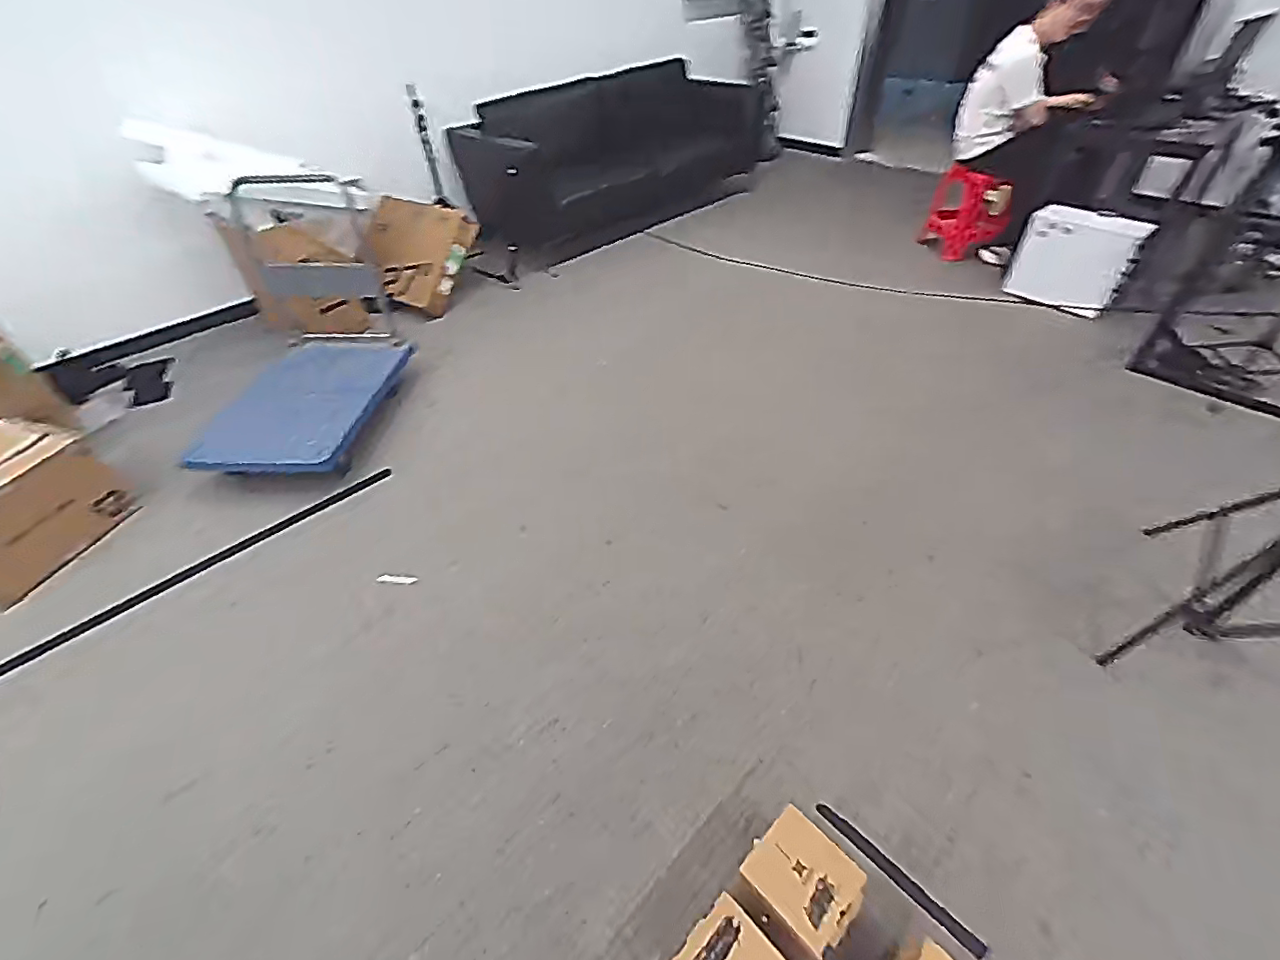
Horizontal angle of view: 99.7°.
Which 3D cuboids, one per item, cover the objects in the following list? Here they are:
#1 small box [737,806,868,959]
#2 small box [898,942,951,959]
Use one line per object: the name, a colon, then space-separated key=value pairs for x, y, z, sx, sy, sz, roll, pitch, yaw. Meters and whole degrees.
small box: x=0.309 y=0.793 z=1.060 sx=0.168 sy=0.176 sz=0.179 roll=-34 pitch=50 yaw=-28
small box: x=0.501 y=0.931 z=0.902 sx=0.168 sy=0.176 sz=0.179 roll=-33 pitch=50 yaw=-27
